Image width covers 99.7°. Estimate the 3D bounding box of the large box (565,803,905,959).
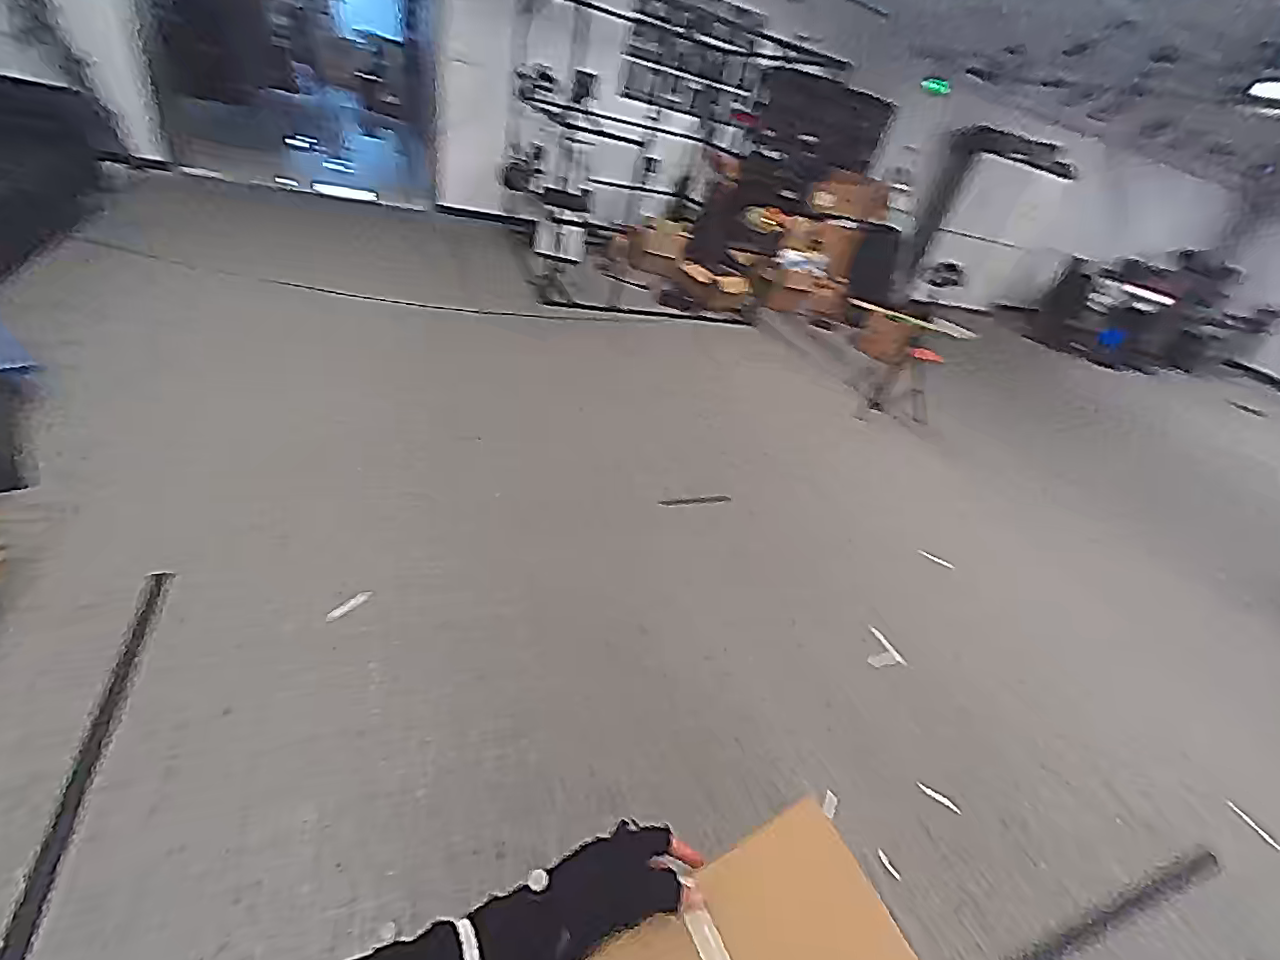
[{"bbox_3d":[0.104,0.599,0.485,0.320,0.320,0.408,-17,53,-24],"label":"large box"}]
